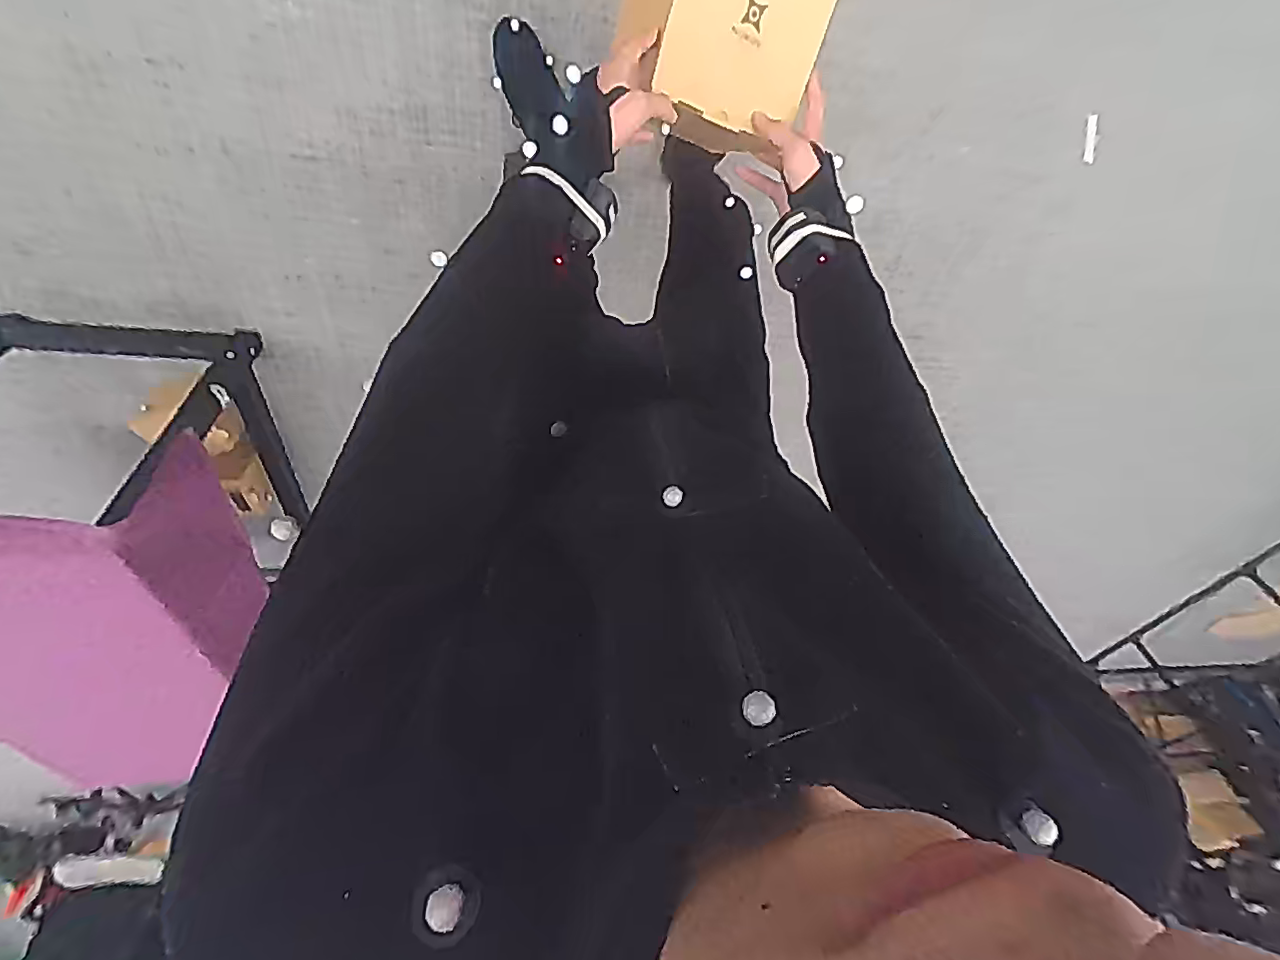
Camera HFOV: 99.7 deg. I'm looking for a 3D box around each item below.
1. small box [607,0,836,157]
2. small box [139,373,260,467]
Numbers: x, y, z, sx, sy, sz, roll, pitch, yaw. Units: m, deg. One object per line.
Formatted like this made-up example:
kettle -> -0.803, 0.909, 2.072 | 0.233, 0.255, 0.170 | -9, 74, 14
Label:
small box -> 0.078, -0.477, 0.587 | 0.168, 0.176, 0.179 | 6, 118, -26
small box -> -1.226, -0.171, 1.522 | 0.179, 0.176, 0.168 | -18, 137, 10
